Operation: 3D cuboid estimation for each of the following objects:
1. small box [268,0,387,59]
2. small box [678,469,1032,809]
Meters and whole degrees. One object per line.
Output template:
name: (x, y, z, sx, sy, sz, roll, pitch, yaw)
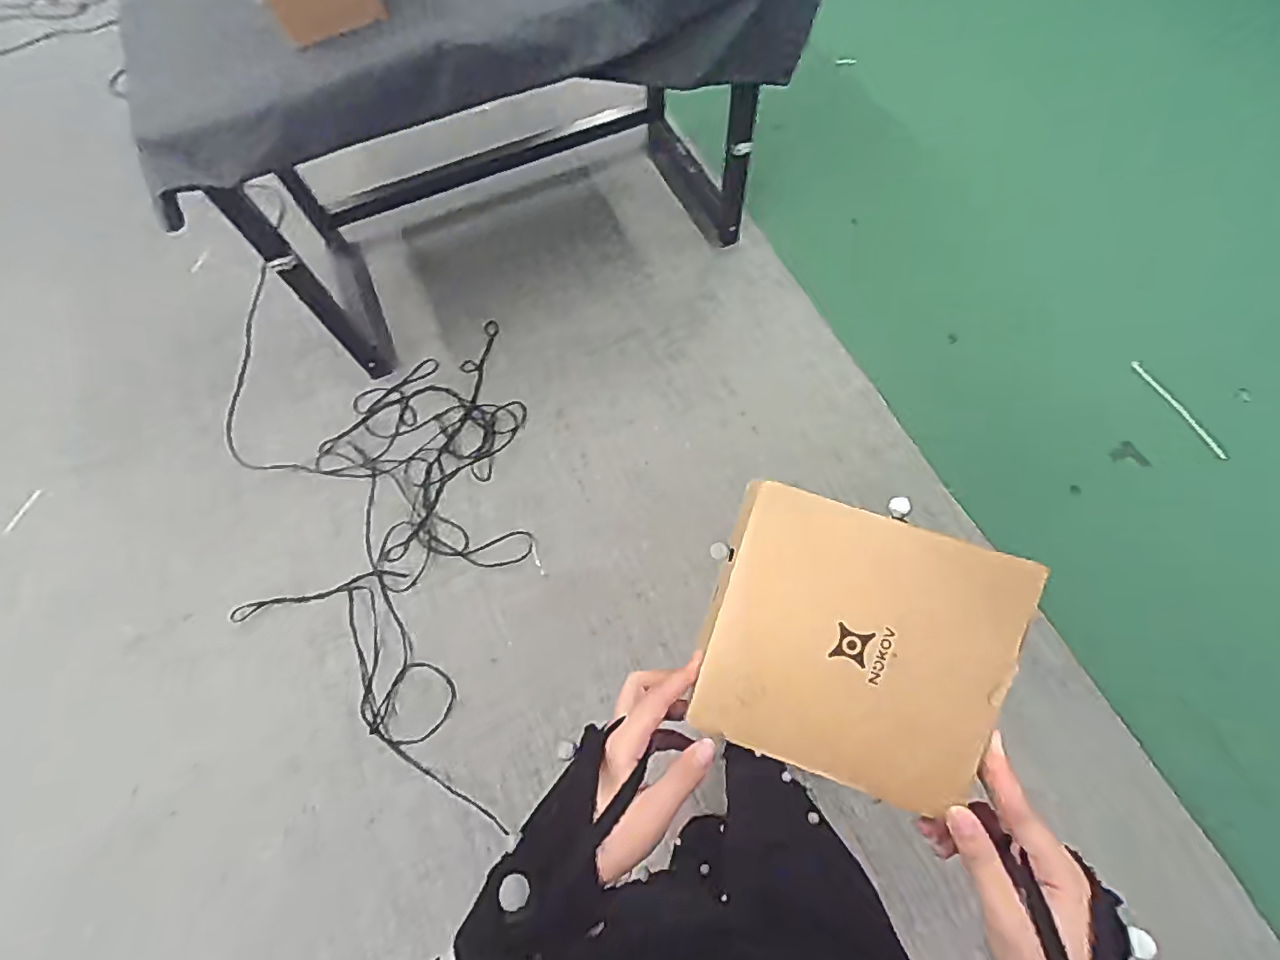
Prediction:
small box: (-0.562, -0.876, 0.927, 0.179, 0.176, 0.168, -27, 66, -7)
small box: (0.139, 0.098, 0.413, 0.179, 0.176, 0.168, 17, 91, 7)
